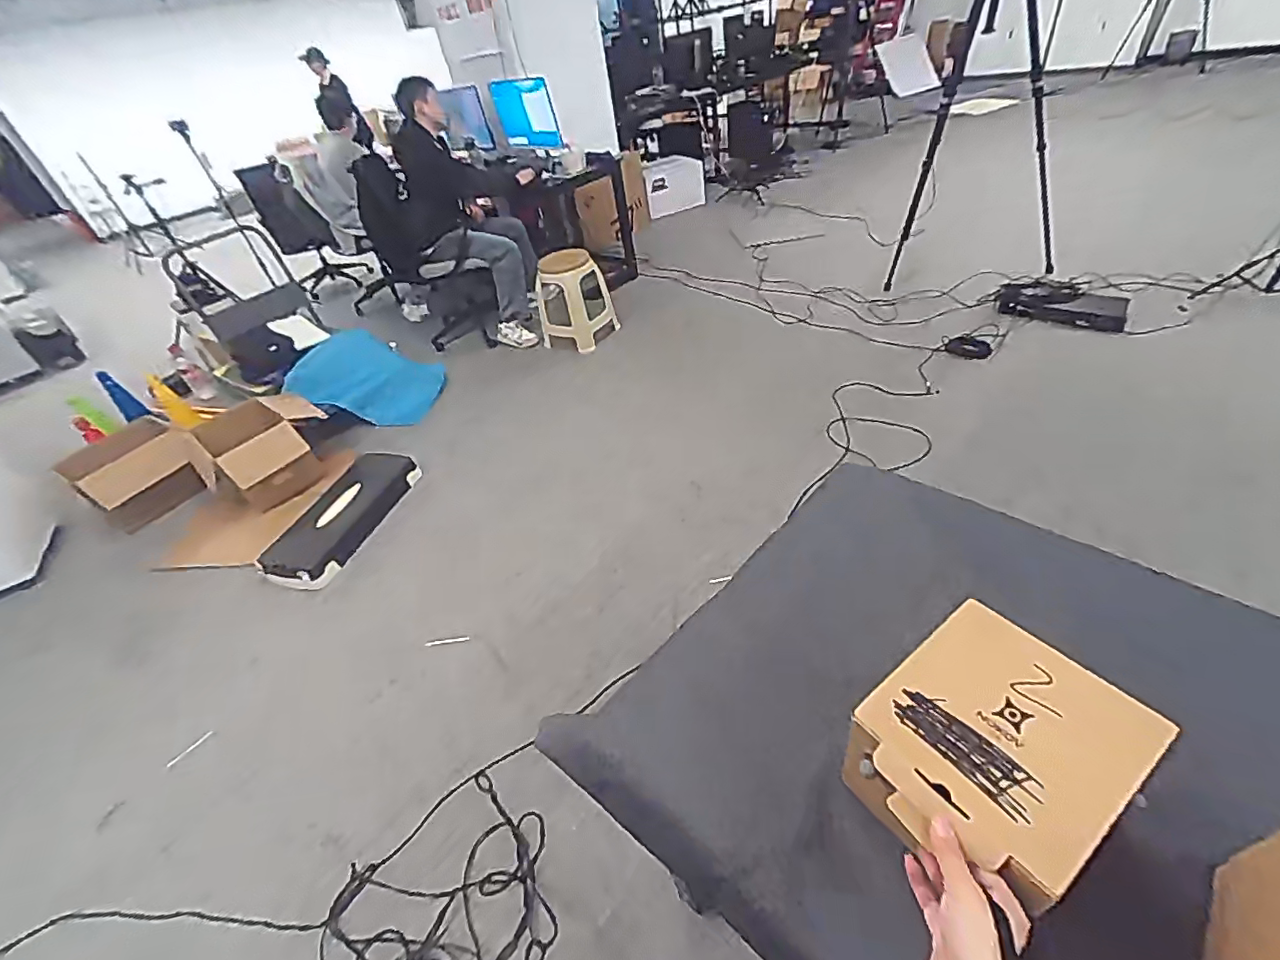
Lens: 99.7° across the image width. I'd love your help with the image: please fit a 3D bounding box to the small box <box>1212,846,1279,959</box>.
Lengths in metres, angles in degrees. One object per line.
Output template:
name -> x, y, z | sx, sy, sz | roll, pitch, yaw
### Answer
small box -> 0.504, 0.352, 0.335 | 0.168, 0.176, 0.179 | 26, 53, 36
